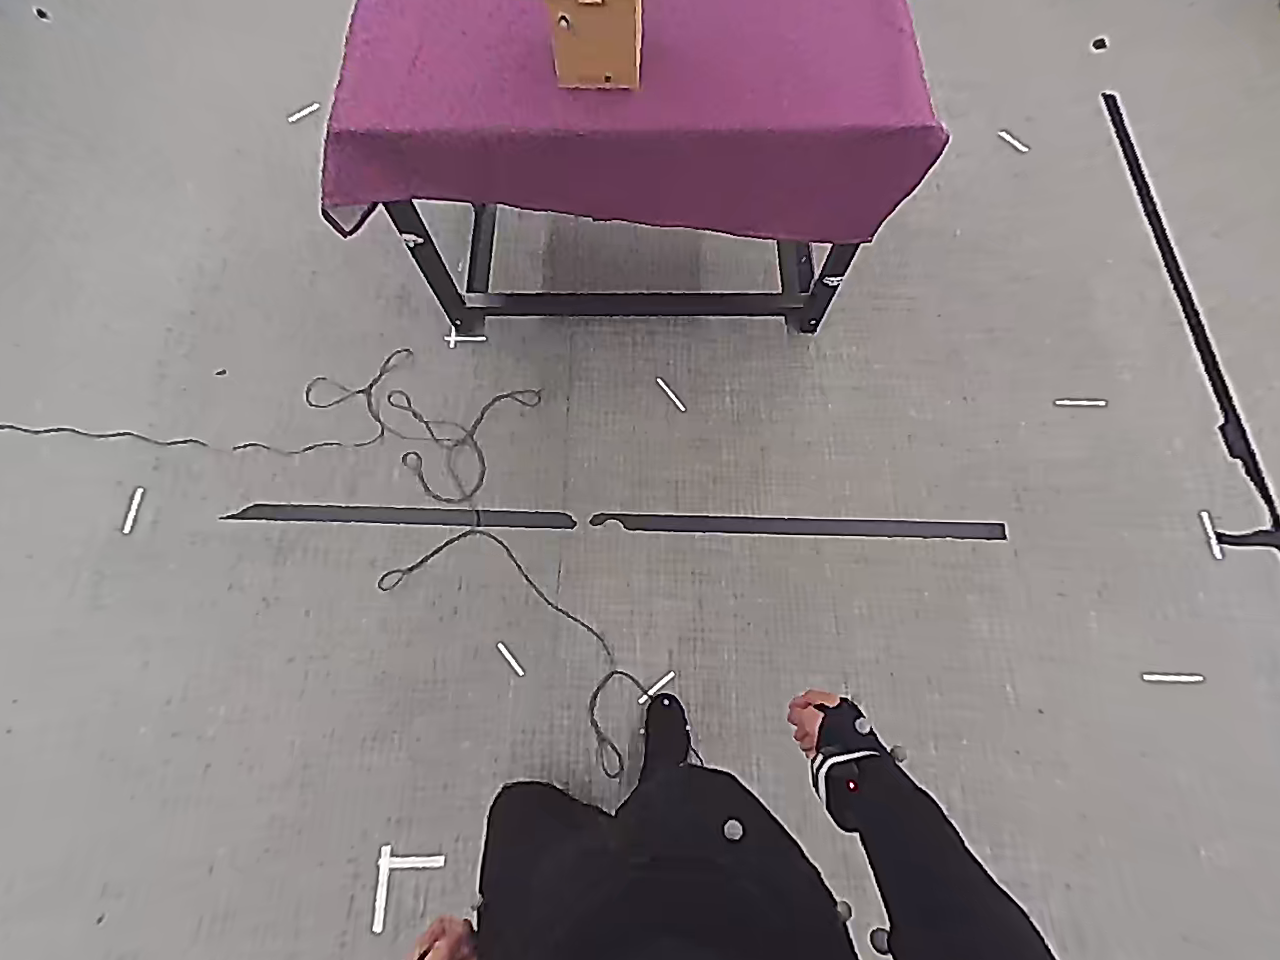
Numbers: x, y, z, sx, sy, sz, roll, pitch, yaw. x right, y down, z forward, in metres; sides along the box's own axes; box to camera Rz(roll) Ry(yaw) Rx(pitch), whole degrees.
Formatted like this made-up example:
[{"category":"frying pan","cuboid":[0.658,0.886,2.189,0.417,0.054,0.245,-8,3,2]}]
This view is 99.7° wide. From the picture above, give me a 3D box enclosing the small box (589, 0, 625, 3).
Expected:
[{"category":"small box","cuboid":[-0.093,-0.949,0.909,0.179,0.176,0.168,3,71,1]}]
